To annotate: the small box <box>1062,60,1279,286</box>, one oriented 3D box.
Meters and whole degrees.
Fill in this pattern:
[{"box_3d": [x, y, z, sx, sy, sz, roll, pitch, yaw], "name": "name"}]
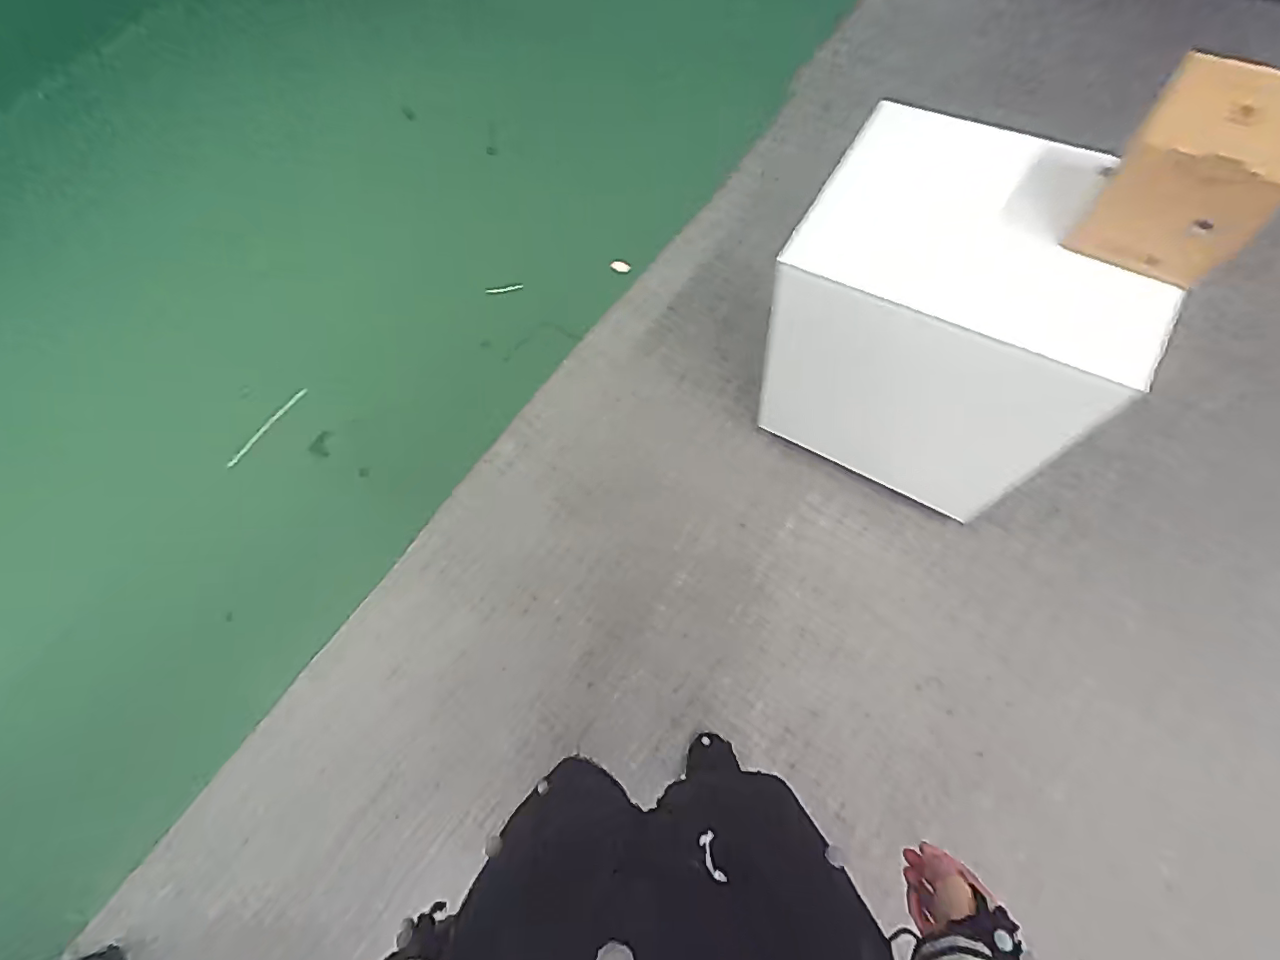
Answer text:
[{"box_3d": [0.705, -0.390, 0.706, 0.168, 0.176, 0.179, 32, 75, 19], "name": "small box"}]
